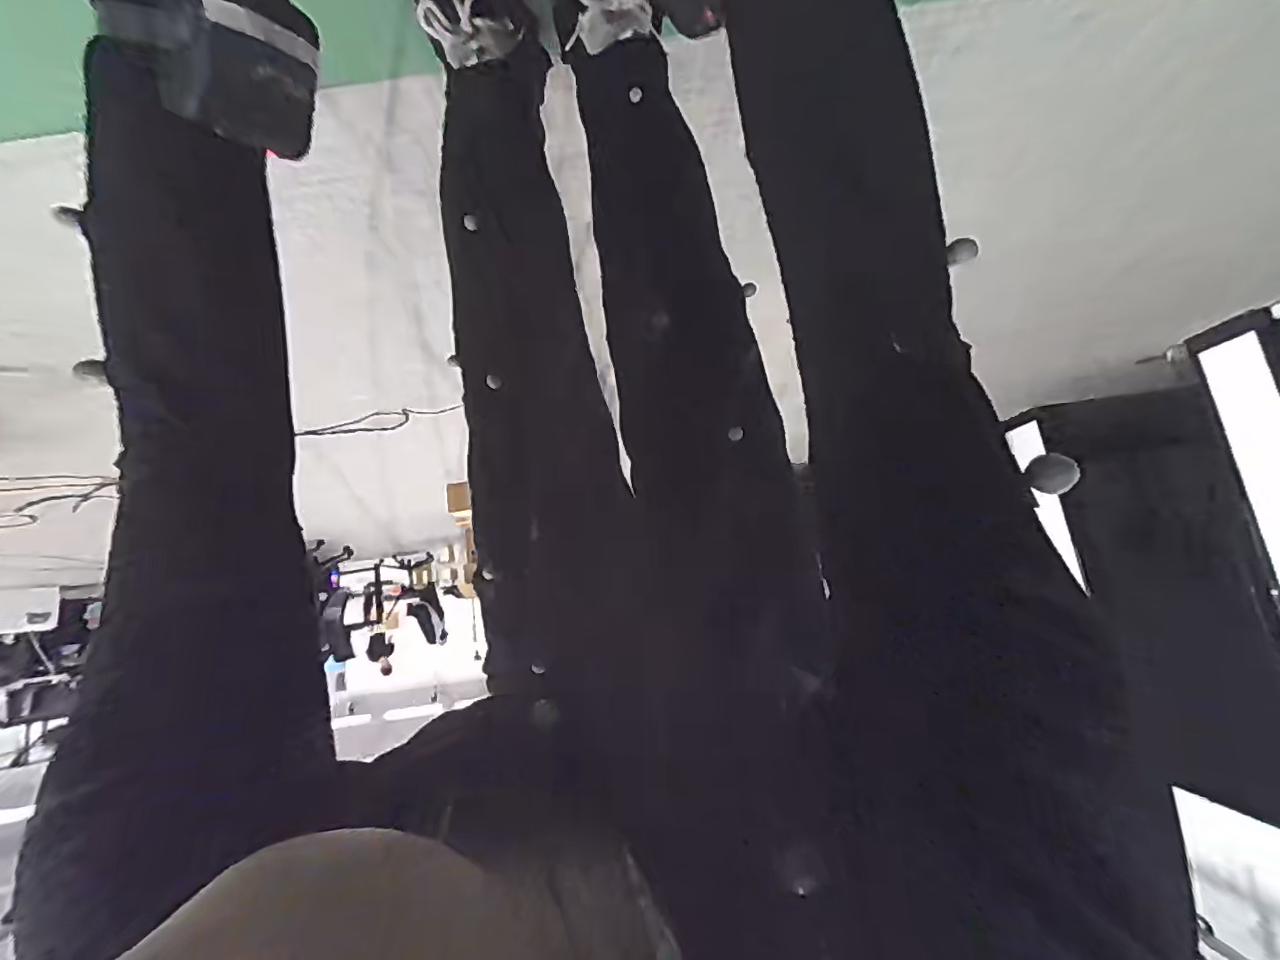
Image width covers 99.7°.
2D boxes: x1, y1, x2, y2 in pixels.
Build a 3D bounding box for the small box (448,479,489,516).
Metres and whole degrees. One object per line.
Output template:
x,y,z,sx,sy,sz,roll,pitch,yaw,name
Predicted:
-0.969,0.098,3.051,0.179,0.176,0.168,-10,169,2,small box
